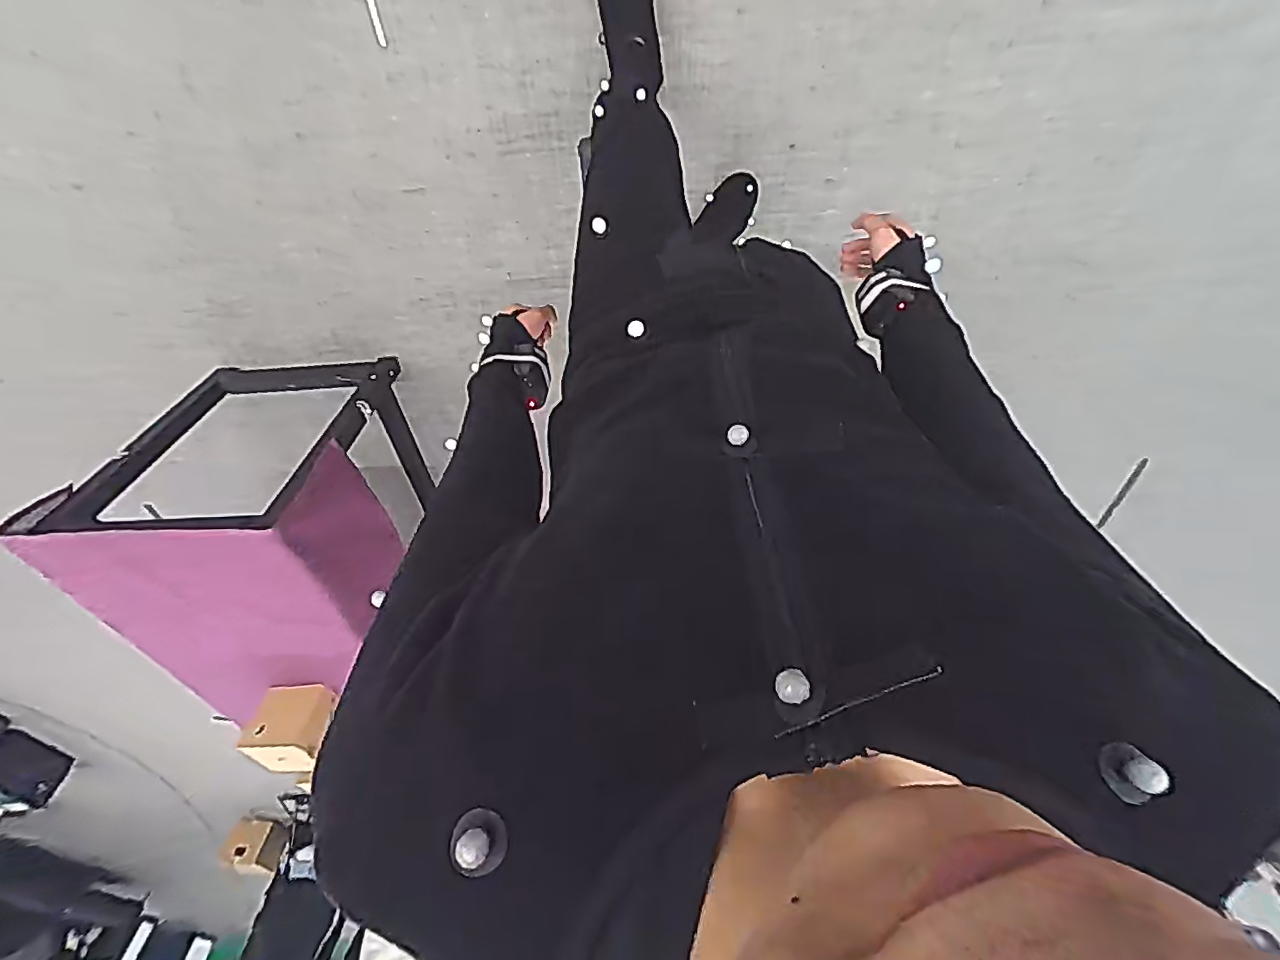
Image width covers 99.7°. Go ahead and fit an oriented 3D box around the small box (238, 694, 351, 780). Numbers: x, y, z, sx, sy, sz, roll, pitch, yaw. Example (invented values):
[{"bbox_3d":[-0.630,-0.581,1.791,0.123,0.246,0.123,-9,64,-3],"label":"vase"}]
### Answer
[{"bbox_3d":[-0.953,0.716,1.511,0.179,0.176,0.168,-6,131,6],"label":"small box"}]
